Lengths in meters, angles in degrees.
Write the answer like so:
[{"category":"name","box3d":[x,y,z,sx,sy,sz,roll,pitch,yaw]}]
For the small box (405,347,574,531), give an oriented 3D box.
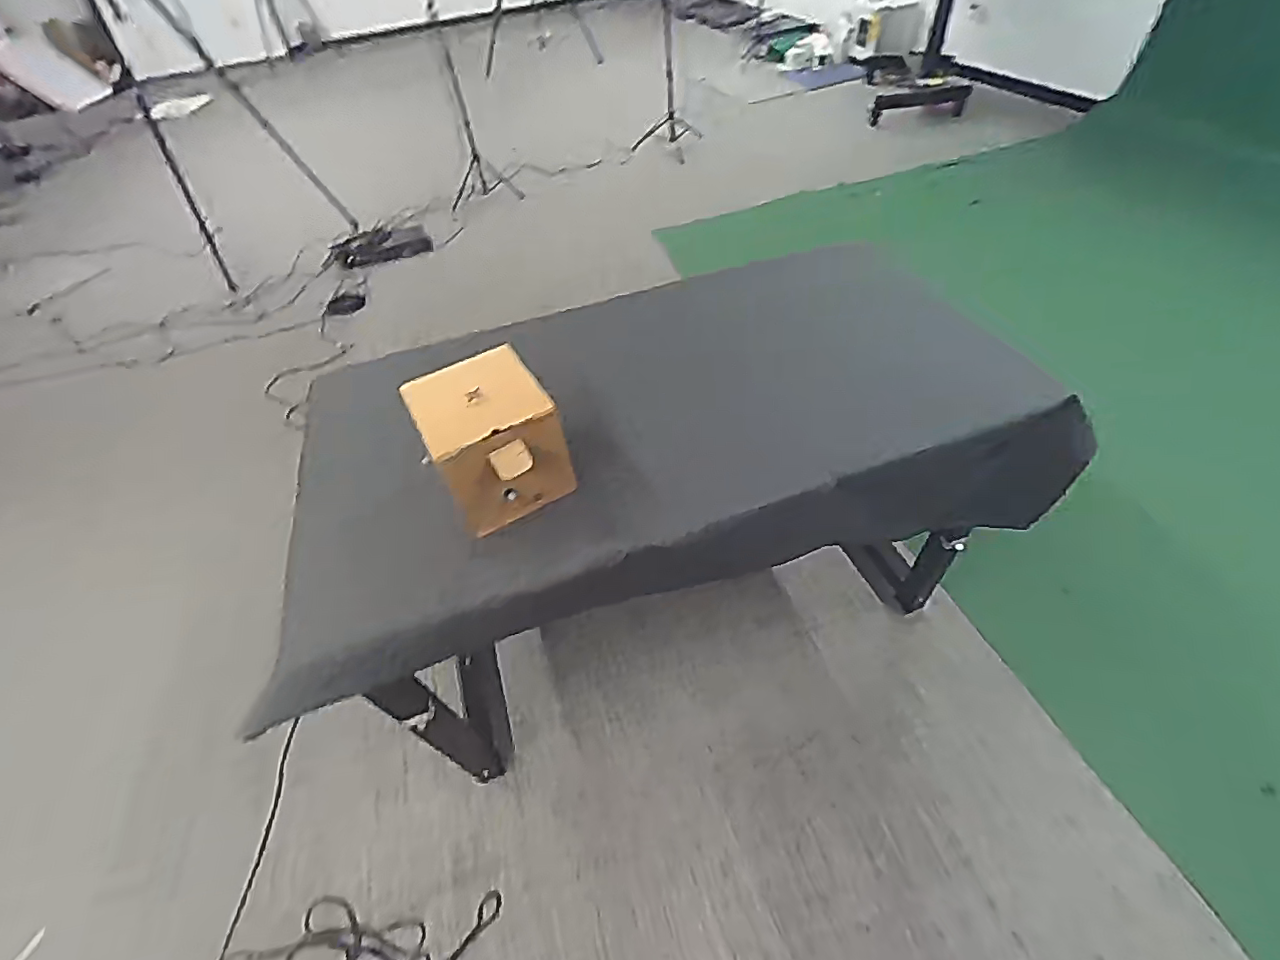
[{"category":"small box","box3d":[-0.214,-0.059,0.791,0.168,0.176,0.179,-27,52,-17]}]
